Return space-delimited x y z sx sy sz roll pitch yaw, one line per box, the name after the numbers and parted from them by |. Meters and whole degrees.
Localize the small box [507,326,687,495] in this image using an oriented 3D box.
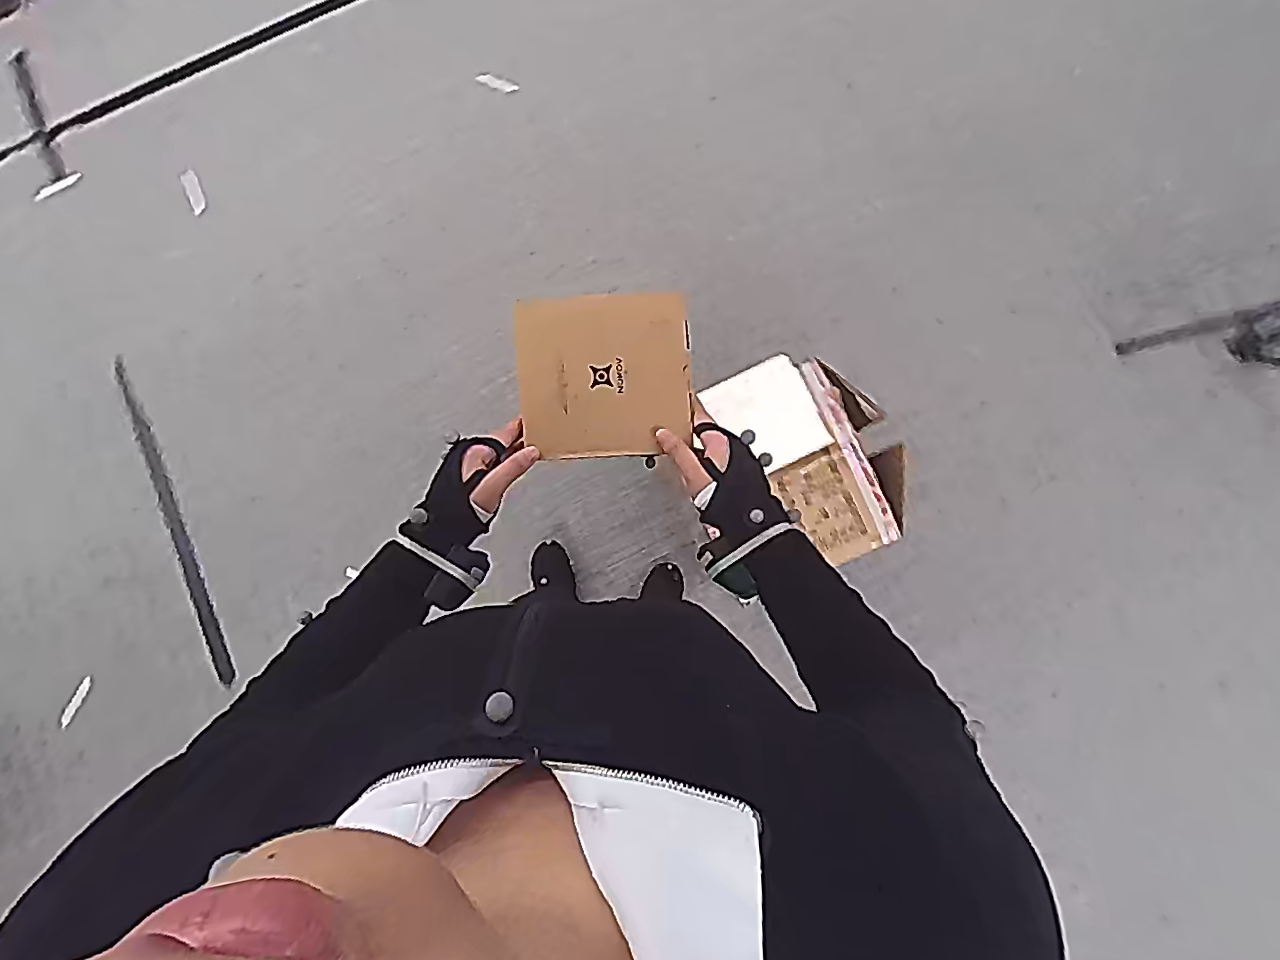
-0.046 -0.075 0.638 0.179 0.176 0.168 -5 92 0 | small box
